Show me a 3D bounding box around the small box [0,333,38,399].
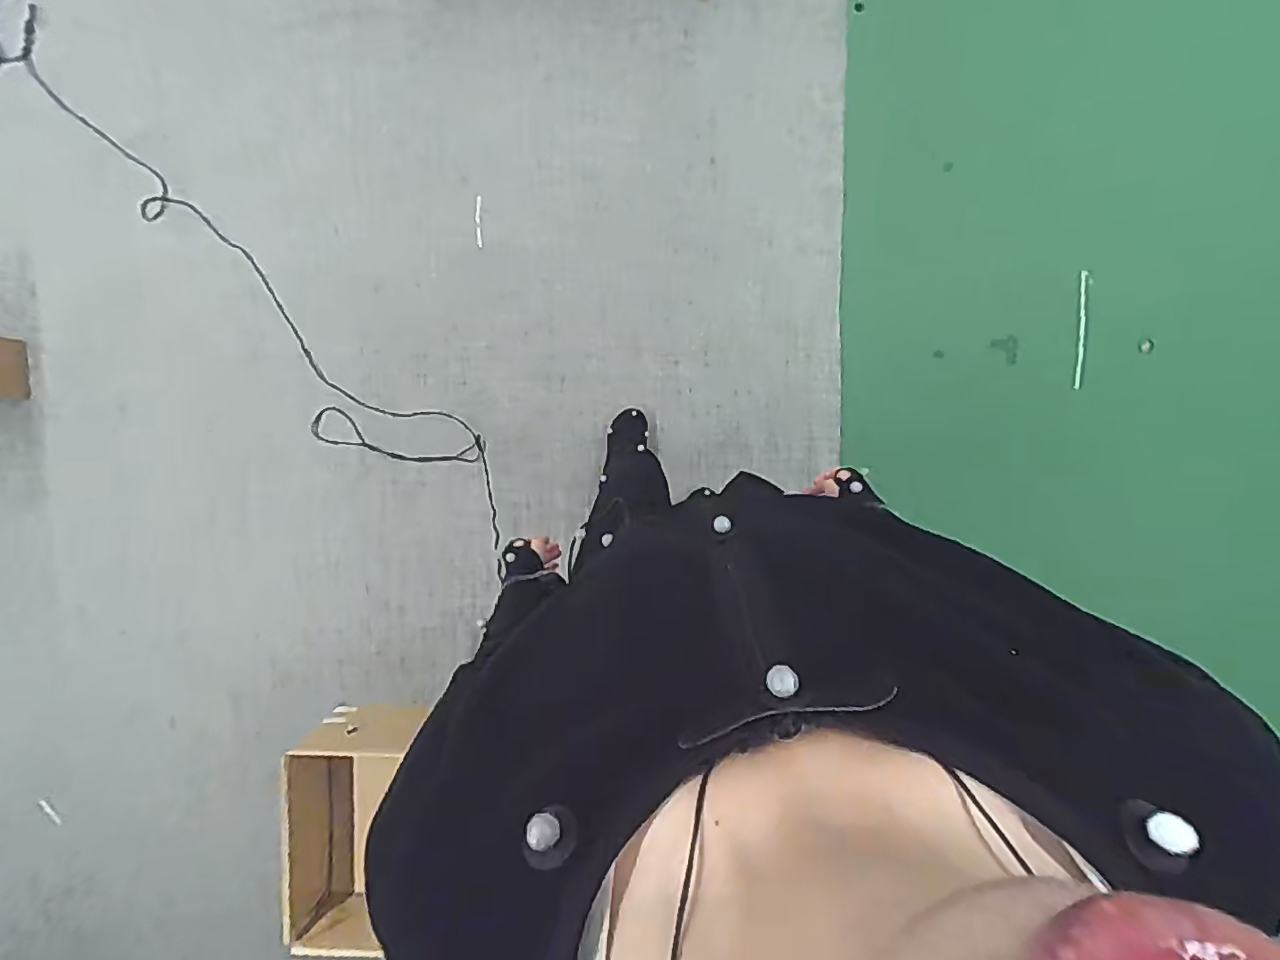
[{"bbox_3d":[-1.795,-0.311,1.461,0.168,0.176,0.179,-1,92,1],"label":"small box"}]
